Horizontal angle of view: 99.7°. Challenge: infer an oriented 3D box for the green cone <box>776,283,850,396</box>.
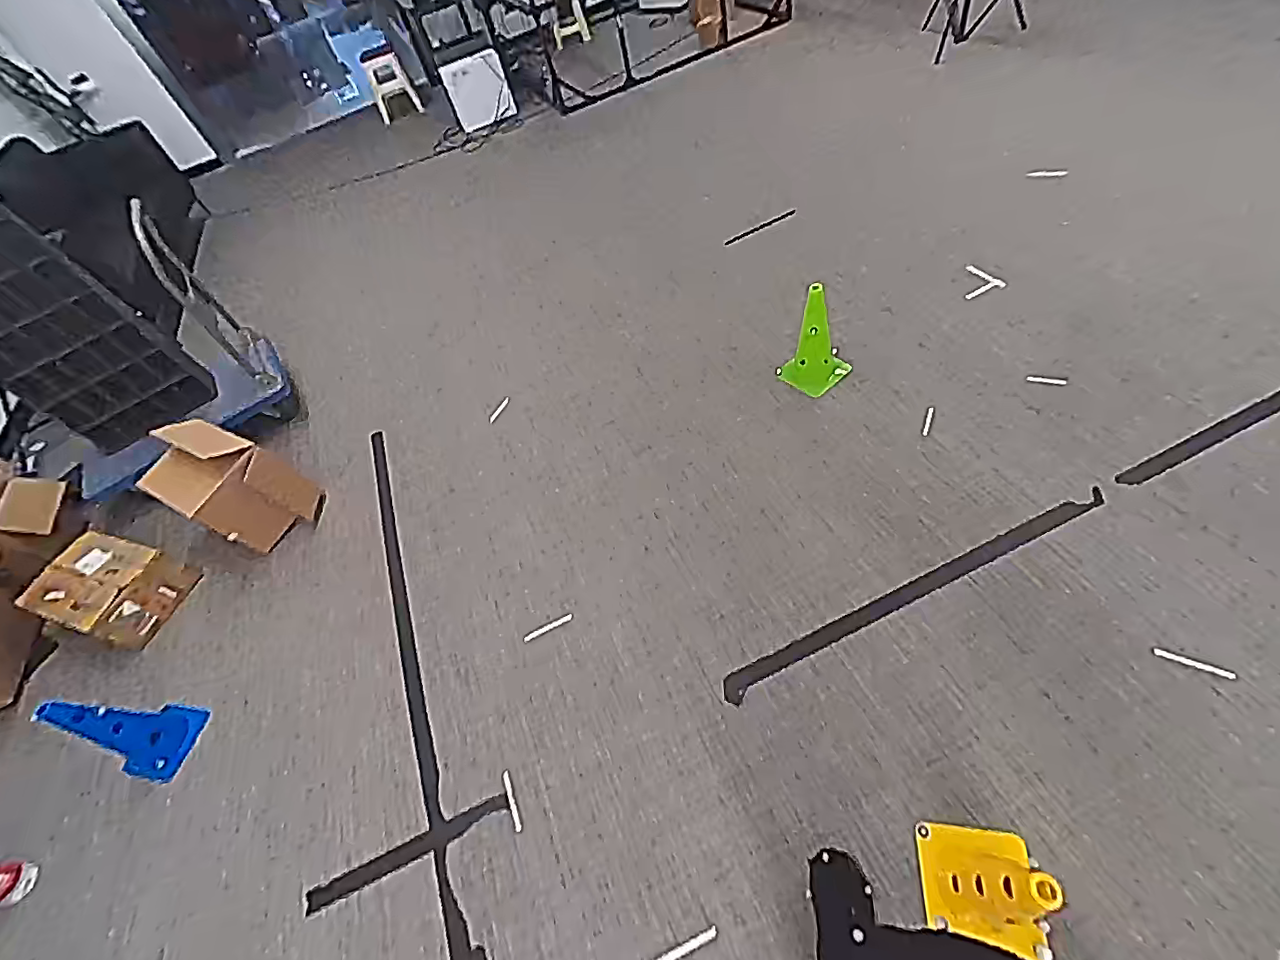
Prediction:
[{"bbox_3d":[0.592,-0.498,1.835,0.202,0.368,0.200,-38,53,-16],"label":"green cone"}]
